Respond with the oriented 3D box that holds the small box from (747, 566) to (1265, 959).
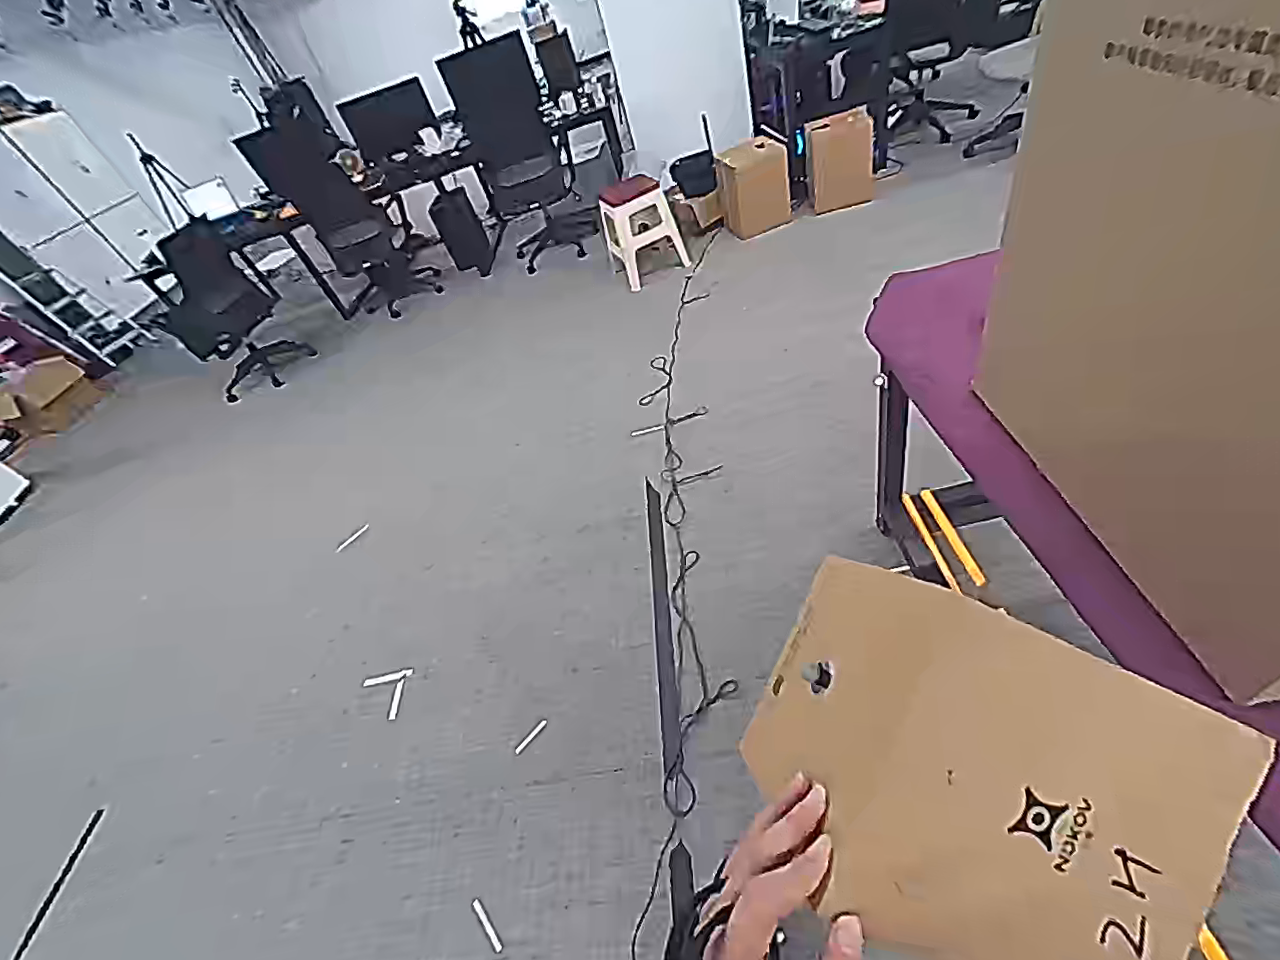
[{"bbox_3d":[0.188,0.164,0.336,0.179,0.176,0.168,25,88,-2],"label":"small box"}]
